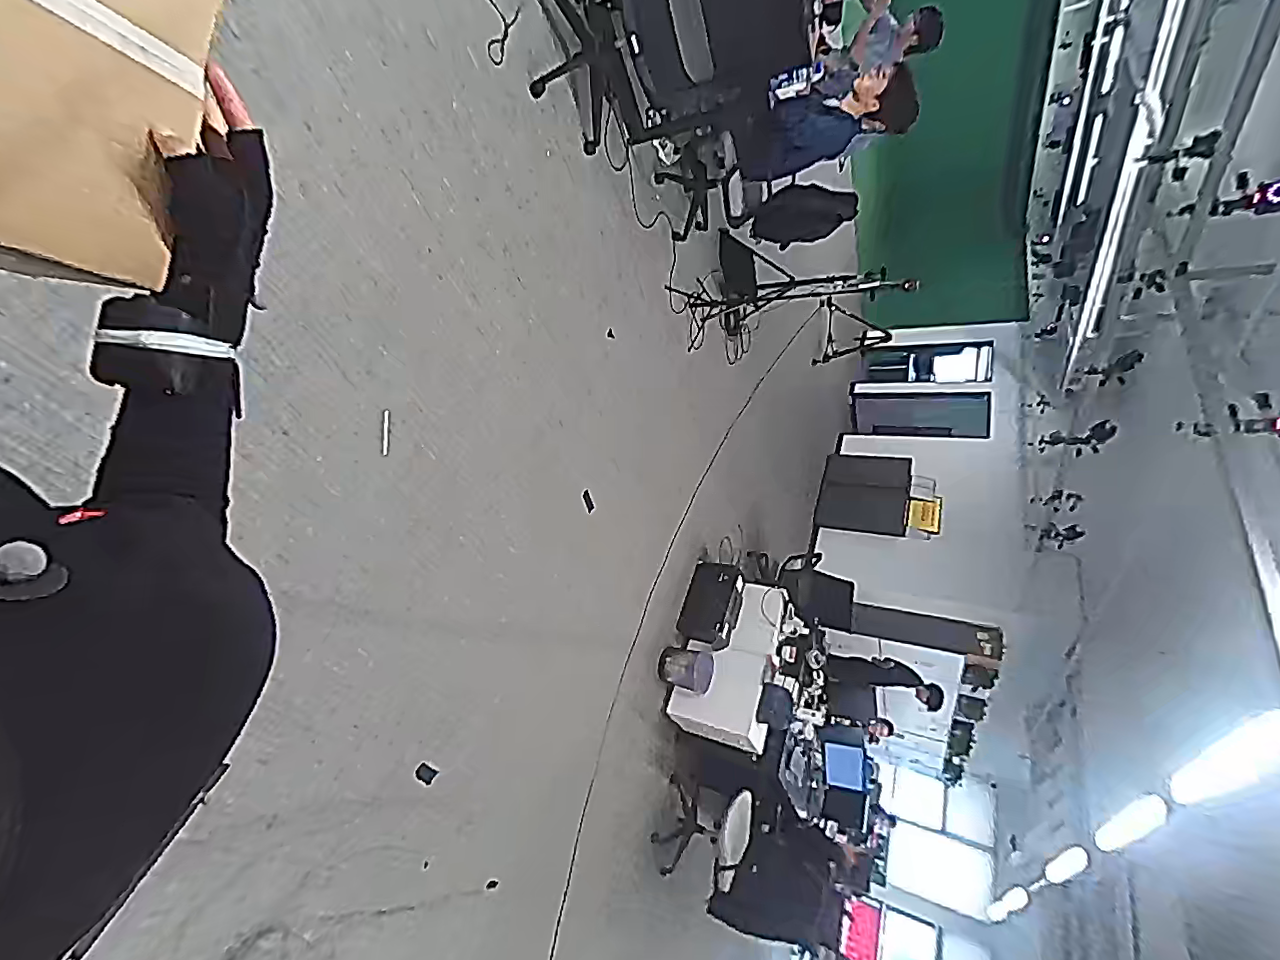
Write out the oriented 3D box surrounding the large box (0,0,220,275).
[{"bbox_3d":[-0.554,-0.349,0.307,0.408,0.320,0.320,10,95,-62],"label":"large box"}]
